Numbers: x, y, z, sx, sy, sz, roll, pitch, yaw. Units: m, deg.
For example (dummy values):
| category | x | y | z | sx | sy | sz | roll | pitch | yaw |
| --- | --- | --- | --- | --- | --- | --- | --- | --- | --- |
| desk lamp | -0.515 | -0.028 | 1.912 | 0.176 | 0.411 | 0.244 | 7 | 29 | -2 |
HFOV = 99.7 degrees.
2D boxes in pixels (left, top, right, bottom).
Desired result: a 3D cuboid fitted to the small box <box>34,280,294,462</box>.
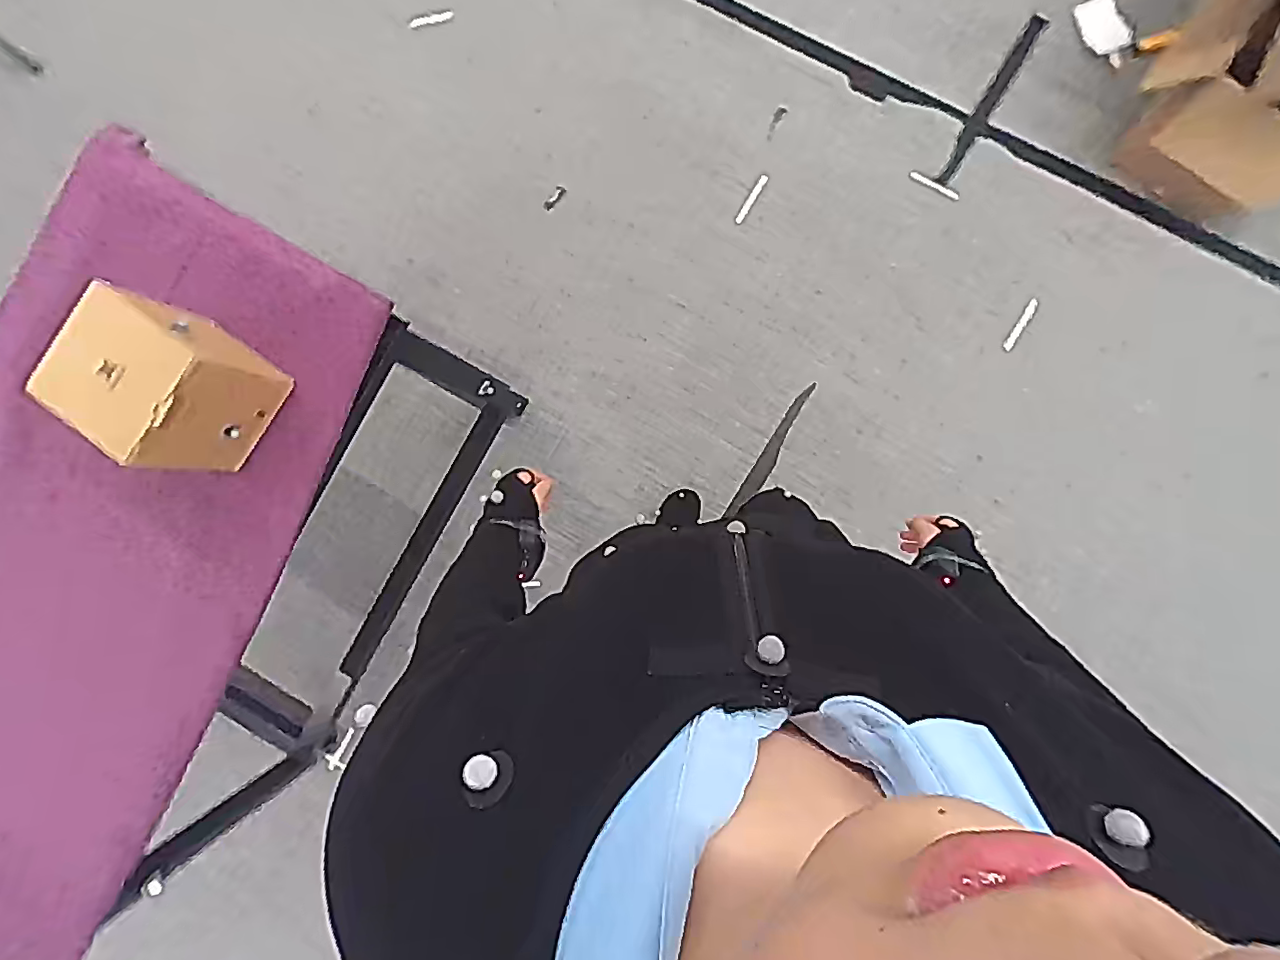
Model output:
| category | x | y | z | sx | sy | sz | roll | pitch | yaw |
| --- | --- | --- | --- | --- | --- | --- | --- | --- | --- |
| small box | -0.641 | -0.135 | 0.749 | 0.179 | 0.176 | 0.168 | 35 | 92 | 5 |
